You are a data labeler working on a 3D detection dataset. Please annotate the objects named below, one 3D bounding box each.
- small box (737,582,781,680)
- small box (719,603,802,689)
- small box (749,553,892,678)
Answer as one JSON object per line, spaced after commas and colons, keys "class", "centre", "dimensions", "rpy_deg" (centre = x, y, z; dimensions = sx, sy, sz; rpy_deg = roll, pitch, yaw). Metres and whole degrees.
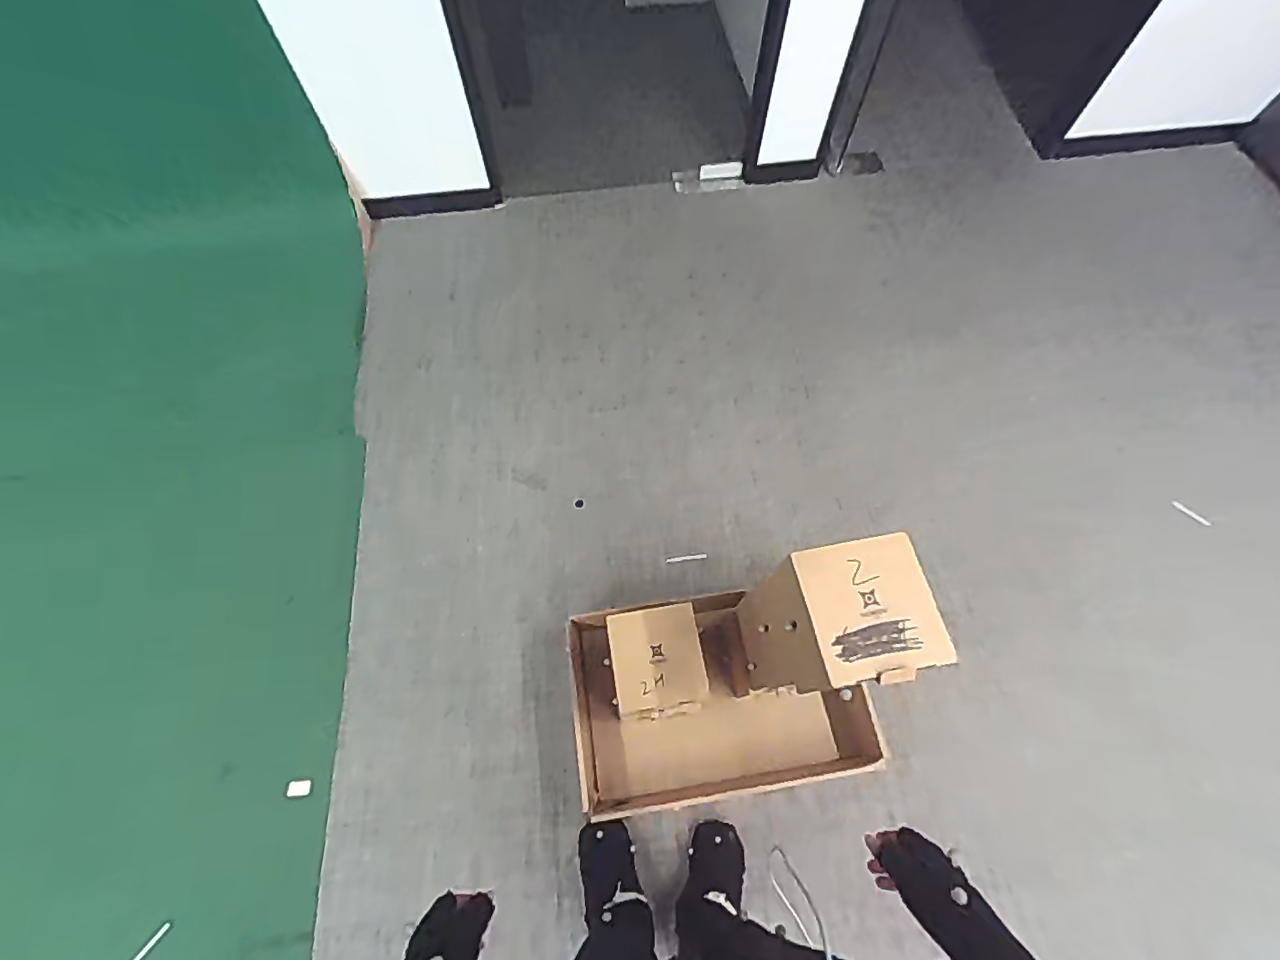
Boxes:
{"class": "small box", "centre": [0.297, 0.291, 1.061], "dimensions": [0.168, 0.176, 0.179], "rpy_deg": [-9, 66, -3]}
{"class": "small box", "centre": [0.285, 0.367, 1.226], "dimensions": [0.168, 0.176, 0.179], "rpy_deg": [-13, 66, -4]}
{"class": "small box", "centre": [0.295, 0.238, 0.924], "dimensions": [0.168, 0.176, 0.179], "rpy_deg": [-7, 66, -3]}
